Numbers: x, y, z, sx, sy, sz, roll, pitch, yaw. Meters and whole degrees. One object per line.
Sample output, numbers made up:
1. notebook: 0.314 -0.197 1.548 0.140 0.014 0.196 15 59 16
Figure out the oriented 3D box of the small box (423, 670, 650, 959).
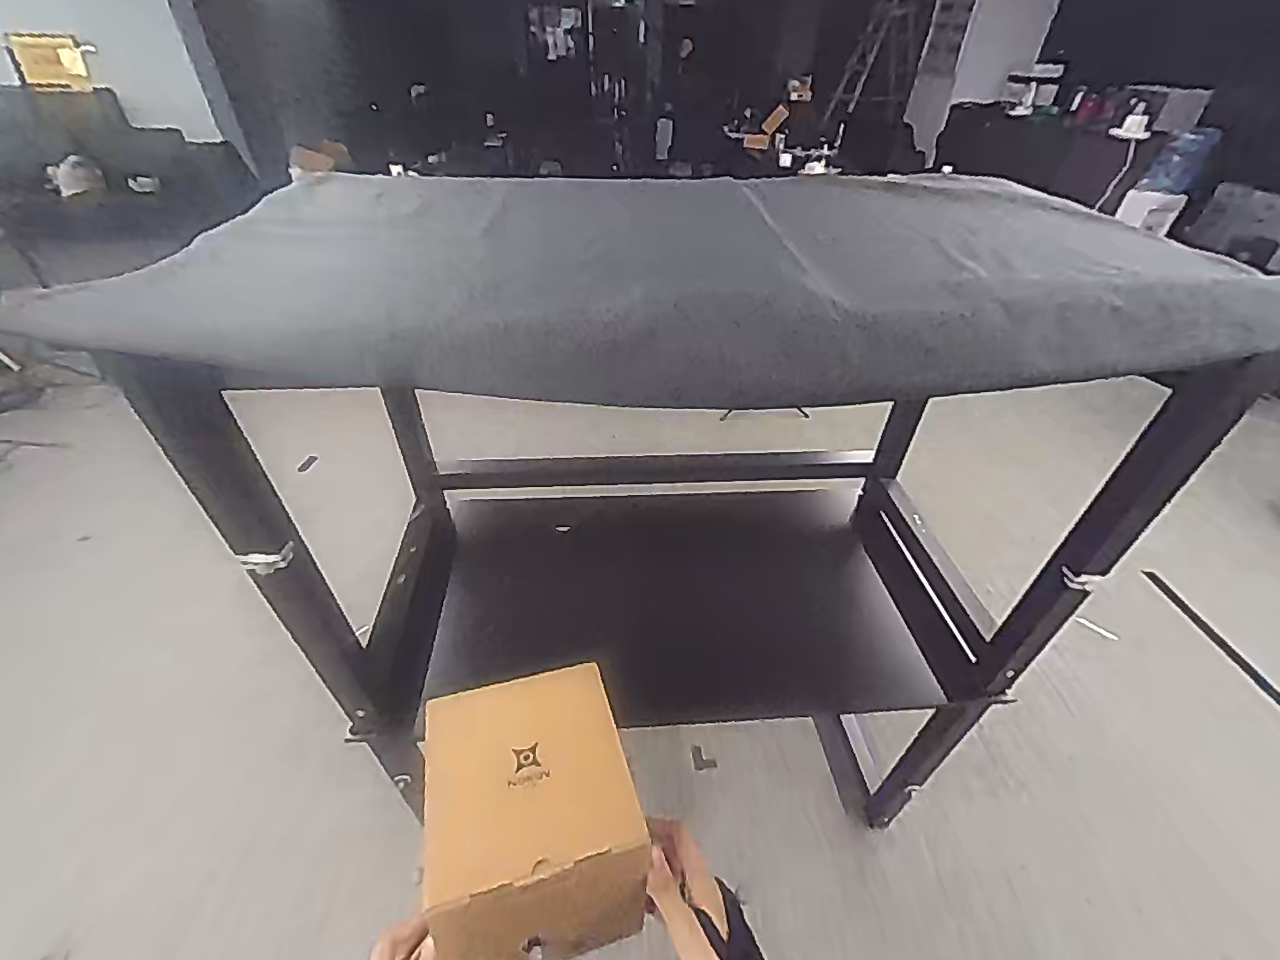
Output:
1. small box: -0.097 0.313 0.498 0.168 0.176 0.179 -7 33 -16
